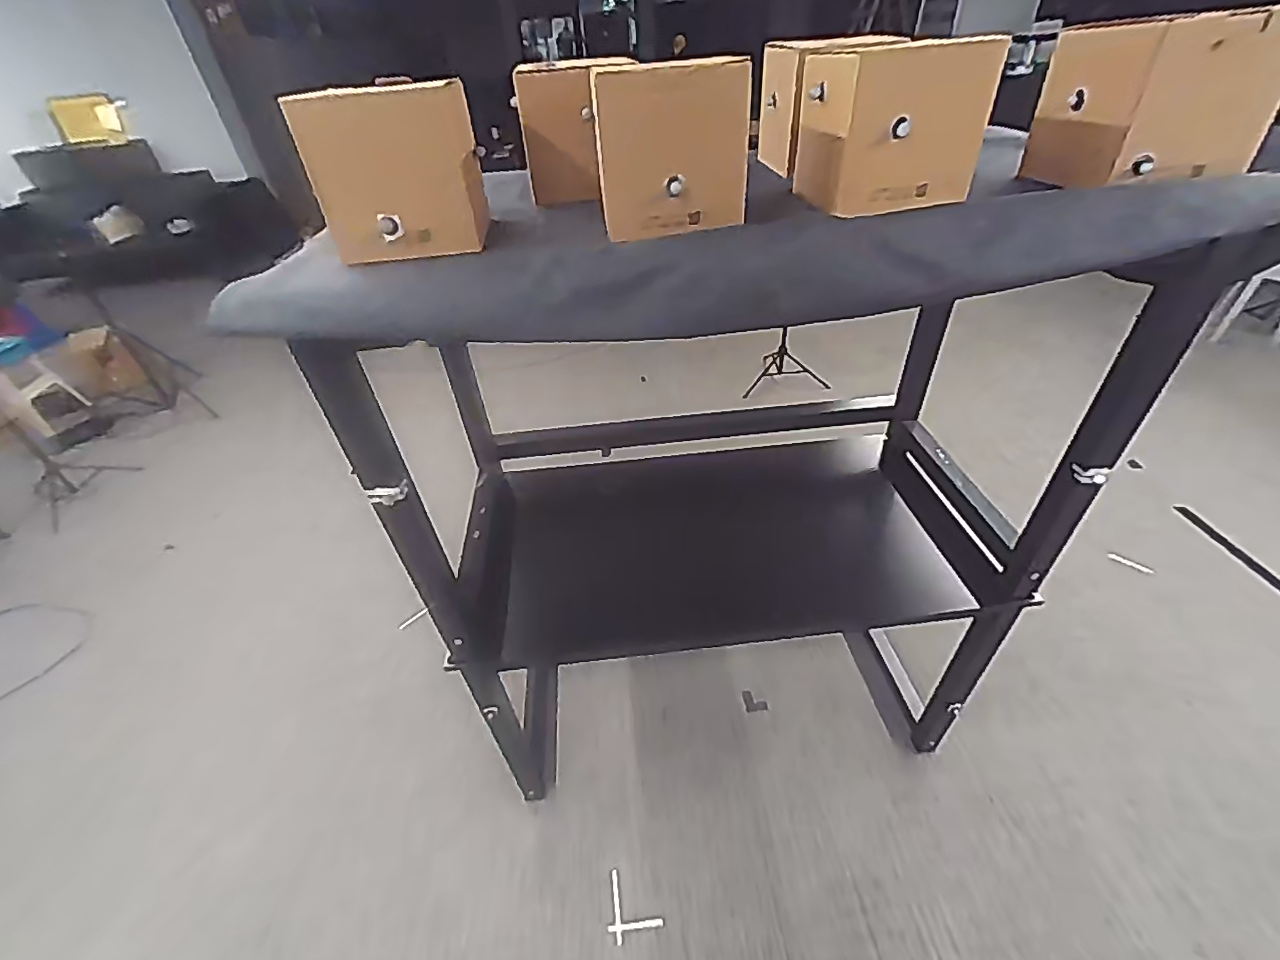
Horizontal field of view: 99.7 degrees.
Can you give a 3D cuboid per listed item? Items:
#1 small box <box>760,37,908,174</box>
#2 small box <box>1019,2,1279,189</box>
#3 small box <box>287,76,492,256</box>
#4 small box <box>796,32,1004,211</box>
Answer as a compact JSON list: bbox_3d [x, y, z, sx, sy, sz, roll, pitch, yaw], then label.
[{"bbox_3d":[0.300,-0.608,0.884,0.168,0.176,0.179,-7,38,-2],"label":"small box"},{"bbox_3d":[0.623,-0.468,0.672,0.168,0.176,0.179,-5,36,1],"label":"small box"},{"bbox_3d":[-0.286,-0.388,0.668,0.168,0.176,0.179,-8,38,-4],"label":"small box"},{"bbox_3d":[0.308,-0.448,0.686,0.168,0.176,0.179,-6,37,-2],"label":"small box"}]
